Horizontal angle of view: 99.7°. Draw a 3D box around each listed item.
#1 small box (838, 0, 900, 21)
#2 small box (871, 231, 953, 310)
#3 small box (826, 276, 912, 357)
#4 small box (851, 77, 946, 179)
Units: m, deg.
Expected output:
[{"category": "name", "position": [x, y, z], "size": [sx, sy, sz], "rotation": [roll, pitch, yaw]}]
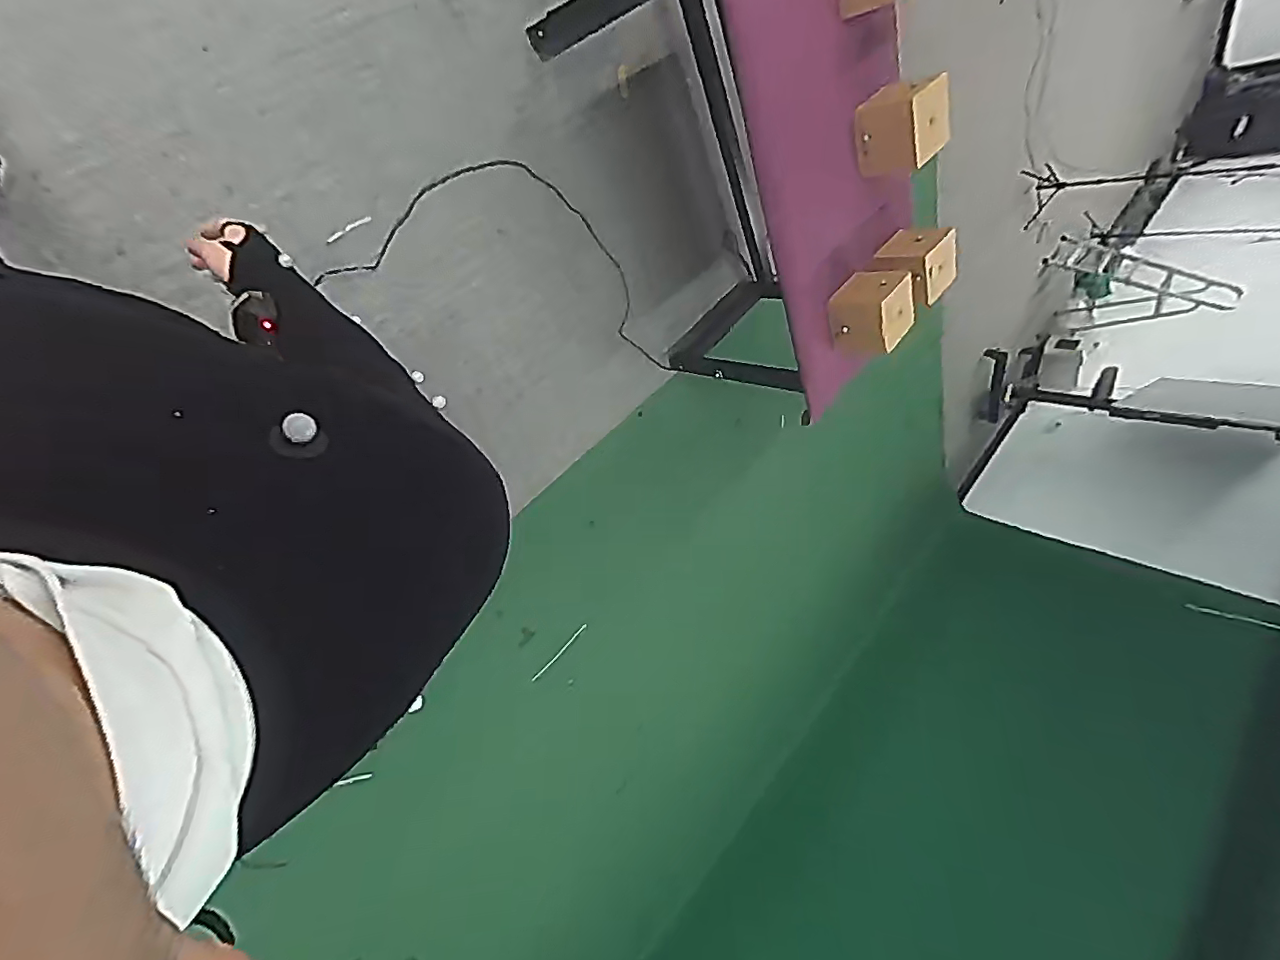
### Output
[{"category": "small box", "position": [0.555, -1.180, 1.214], "size": [0.179, 0.176, 0.168], "rotation": [-45, 131, -21]}, {"category": "small box", "position": [0.844, -0.650, 1.678], "size": [0.179, 0.176, 0.168], "rotation": [-44, 130, -20]}, {"category": "small box", "position": [0.669, -0.481, 1.580], "size": [0.179, 0.176, 0.168], "rotation": [-44, 129, -23]}, {"category": "small box", "position": [0.684, -0.926, 1.431], "size": [0.179, 0.176, 0.168], "rotation": [-44, 129, -21]}]
